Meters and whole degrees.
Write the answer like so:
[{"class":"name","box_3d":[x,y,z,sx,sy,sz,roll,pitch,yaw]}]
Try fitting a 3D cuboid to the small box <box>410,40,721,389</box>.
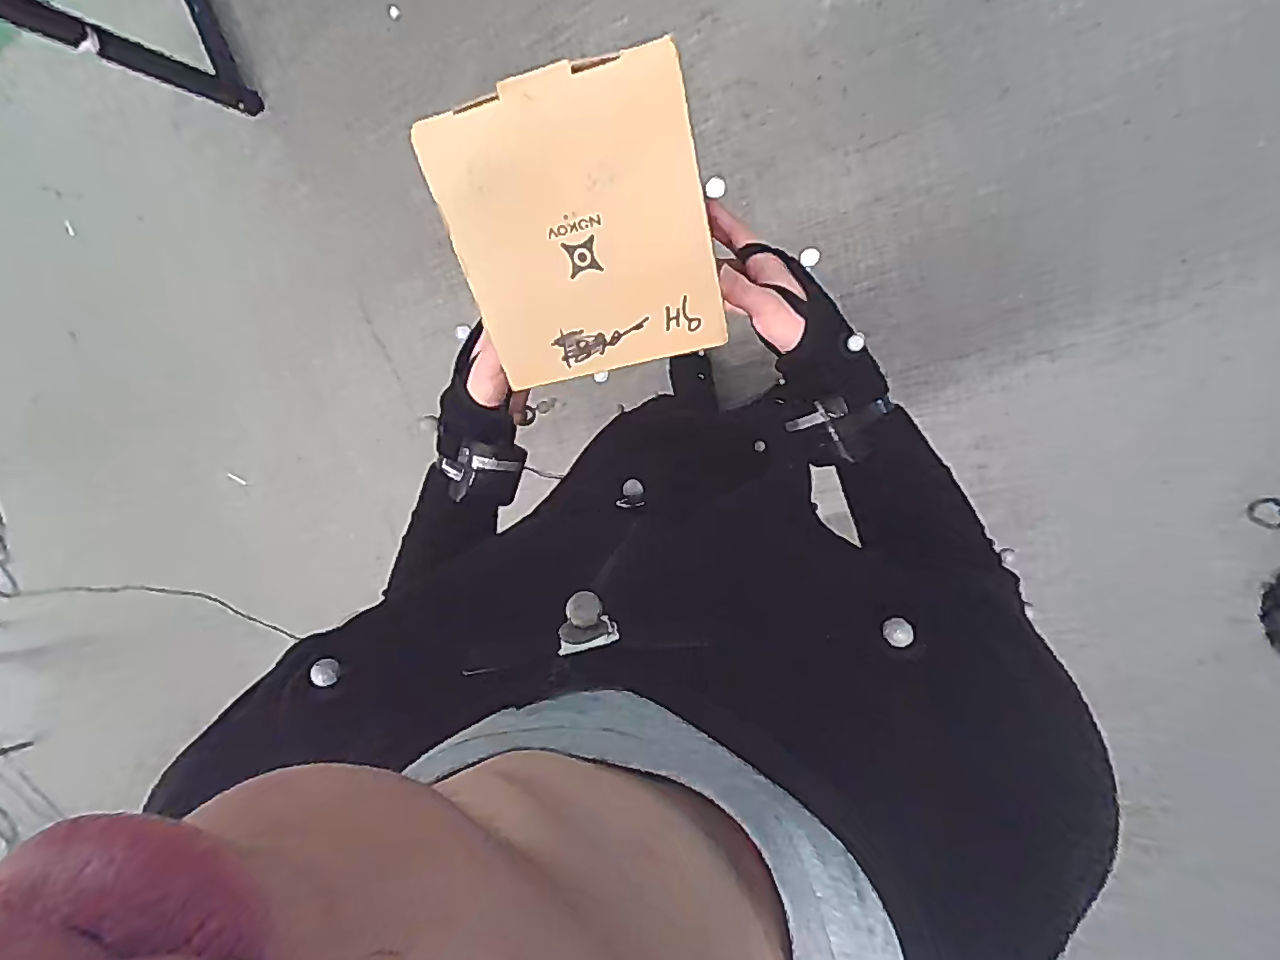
[{"class":"small box","box_3d":[-0.035,-0.194,0.419,0.168,0.176,0.179,-10,119,13]}]
